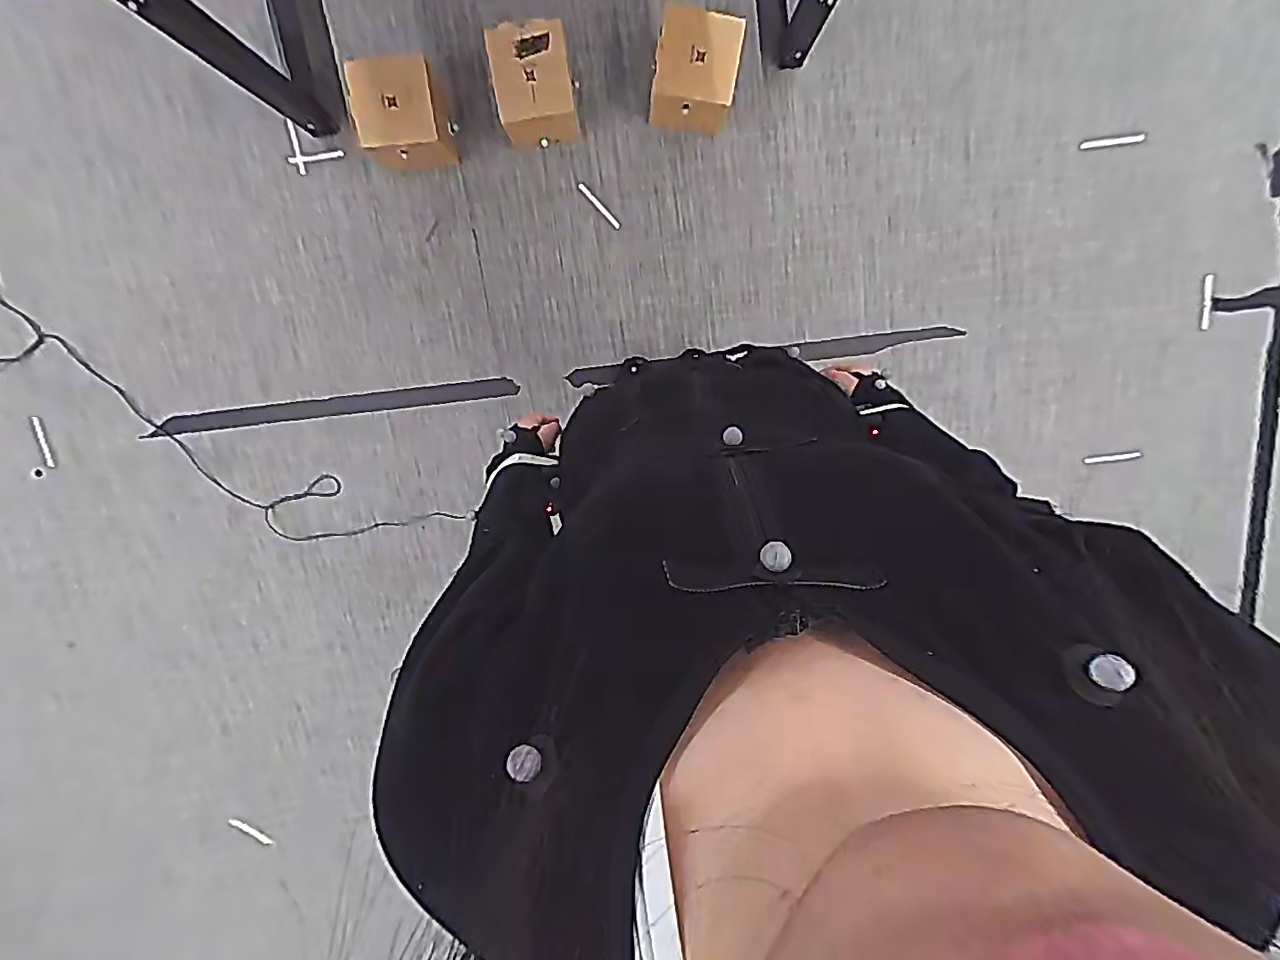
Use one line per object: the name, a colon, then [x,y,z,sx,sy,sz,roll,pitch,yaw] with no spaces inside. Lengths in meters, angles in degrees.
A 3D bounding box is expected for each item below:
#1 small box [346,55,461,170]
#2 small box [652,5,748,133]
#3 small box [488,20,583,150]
small box: [-0.529,-0.826,1.234,0.179,0.176,0.168,-5,103,0]
small box: [0.127,-0.911,1.217,0.179,0.176,0.168,10,103,-1]
small box: [-0.228,-0.881,1.220,0.168,0.176,0.179,-8,104,2]
